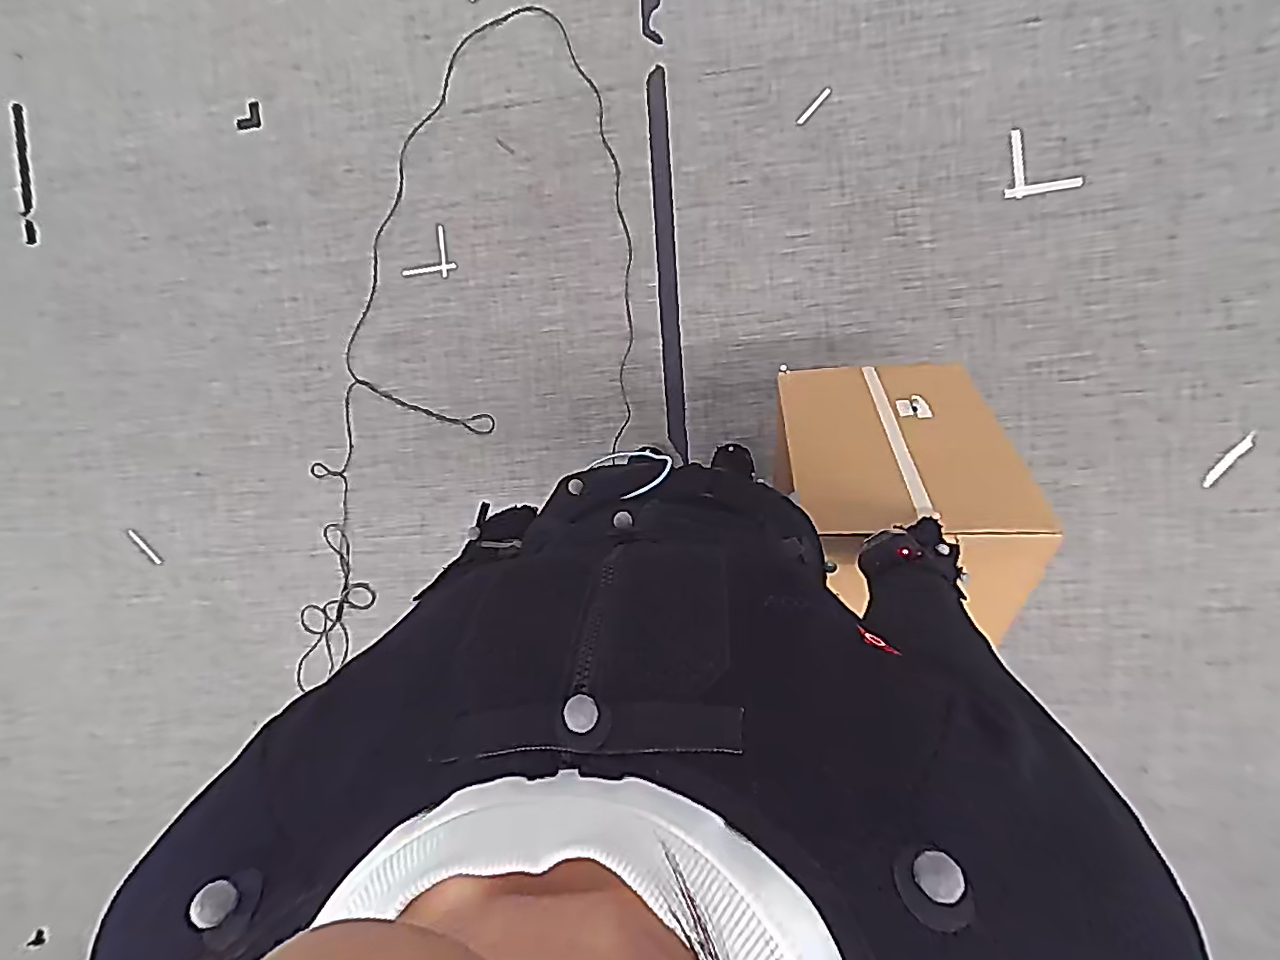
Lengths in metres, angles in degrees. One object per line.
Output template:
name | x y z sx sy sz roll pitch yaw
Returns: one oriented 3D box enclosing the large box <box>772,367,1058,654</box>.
large box | 0.409 0.046 0.939 0.320 0.408 0.320 -1 131 7
